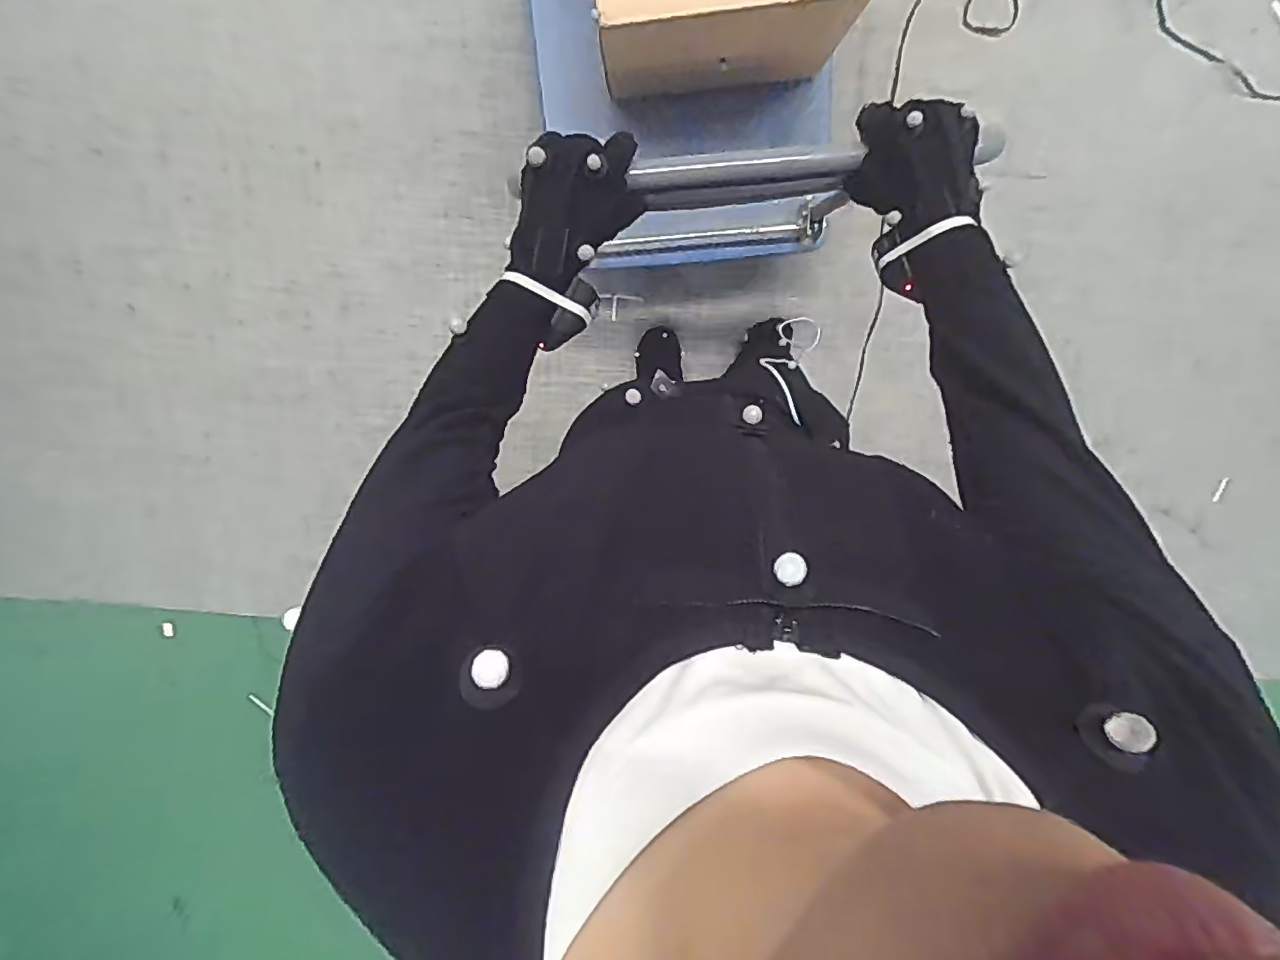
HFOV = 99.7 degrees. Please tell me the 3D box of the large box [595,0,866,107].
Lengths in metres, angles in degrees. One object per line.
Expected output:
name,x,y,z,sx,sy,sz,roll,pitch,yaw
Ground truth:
large box,0.127,-0.868,0.898,0.408,0.320,0.320,-5,107,4
